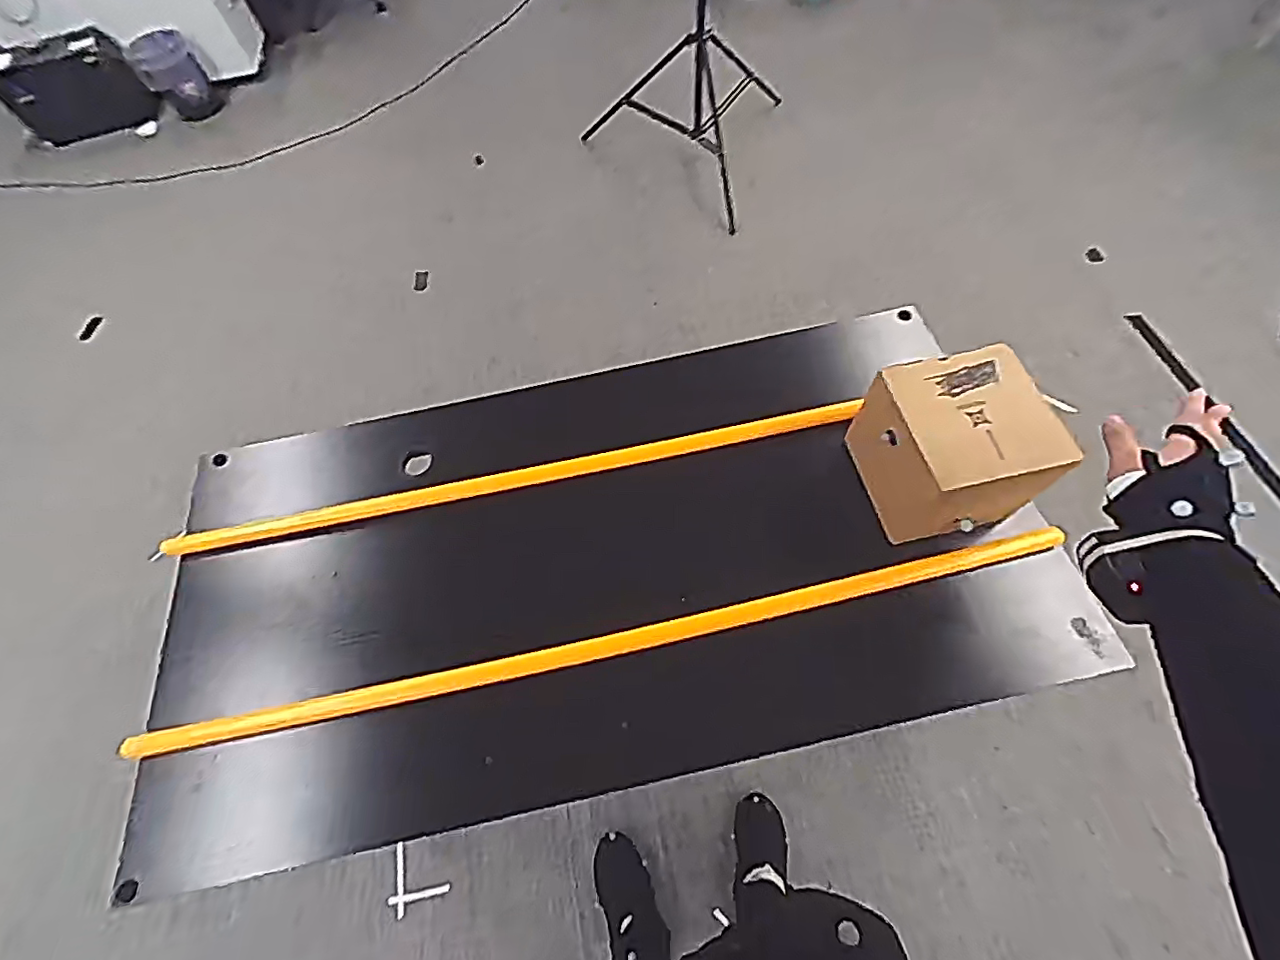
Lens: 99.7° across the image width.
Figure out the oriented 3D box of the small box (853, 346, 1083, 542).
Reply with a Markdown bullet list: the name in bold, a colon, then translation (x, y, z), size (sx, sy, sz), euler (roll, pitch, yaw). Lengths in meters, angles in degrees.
- **small box**: translation (0.400, -0.041, 0.702), size (0.168, 0.176, 0.179), euler (-12, 63, -1)
